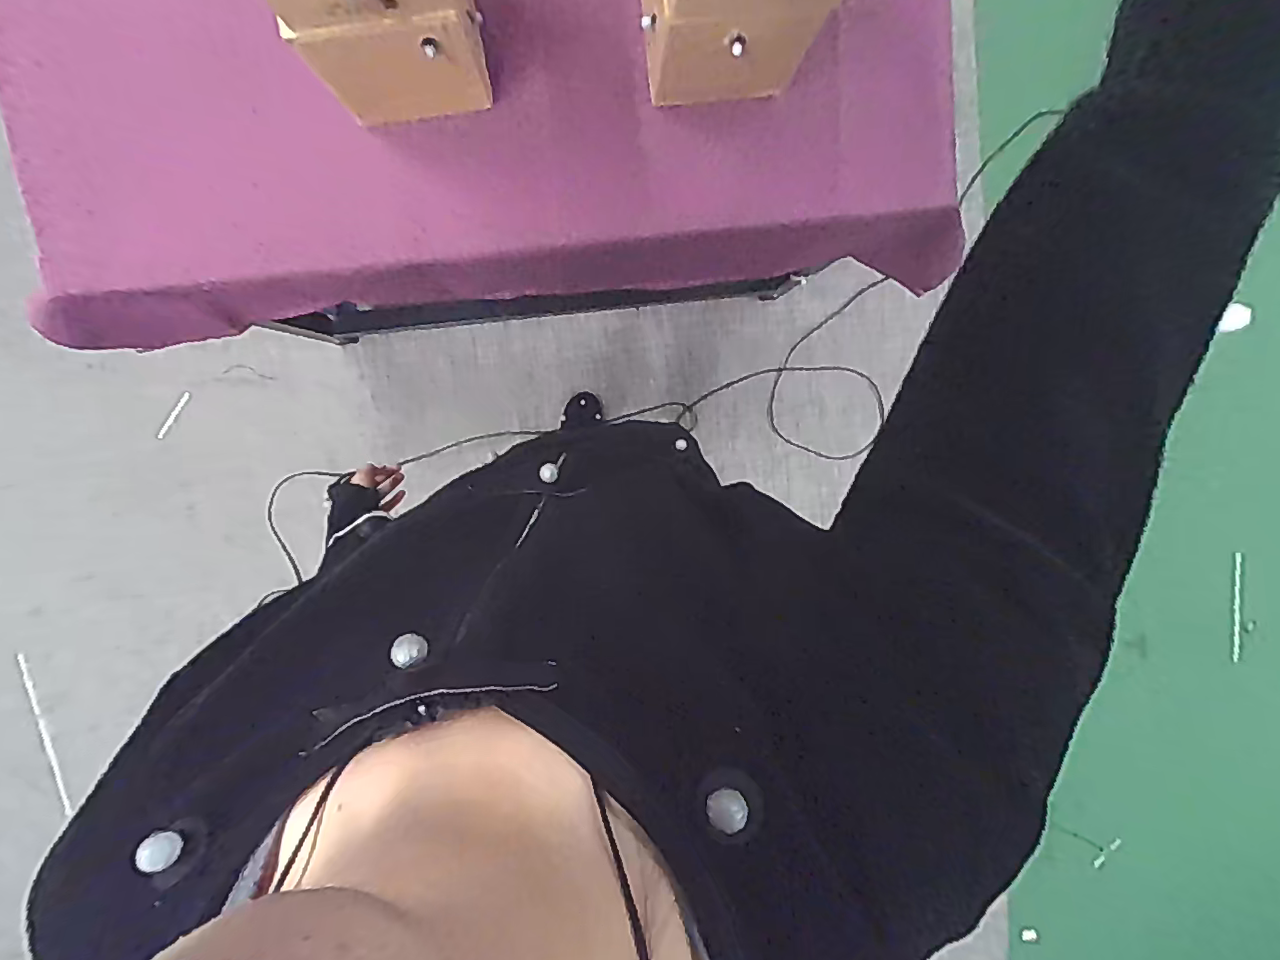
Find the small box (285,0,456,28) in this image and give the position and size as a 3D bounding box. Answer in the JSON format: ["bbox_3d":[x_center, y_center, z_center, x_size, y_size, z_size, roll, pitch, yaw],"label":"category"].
[{"bbox_3d":[-0.265,-0.527,0.440,0.168,0.176,0.179,-11,98,-3],"label":"small box"}]

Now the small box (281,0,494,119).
[{"bbox_3d":[-0.279,-0.538,0.604,0.179,0.176,0.168,-11,98,-3],"label":"small box"}]

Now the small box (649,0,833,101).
[{"bbox_3d":[0.103,-0.570,0.624,0.179,0.176,0.168,-6,99,-3],"label":"small box"}]

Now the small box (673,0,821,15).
[{"bbox_3d":[0.118,-0.547,0.462,0.179,0.176,0.168,-6,99,-2],"label":"small box"}]
